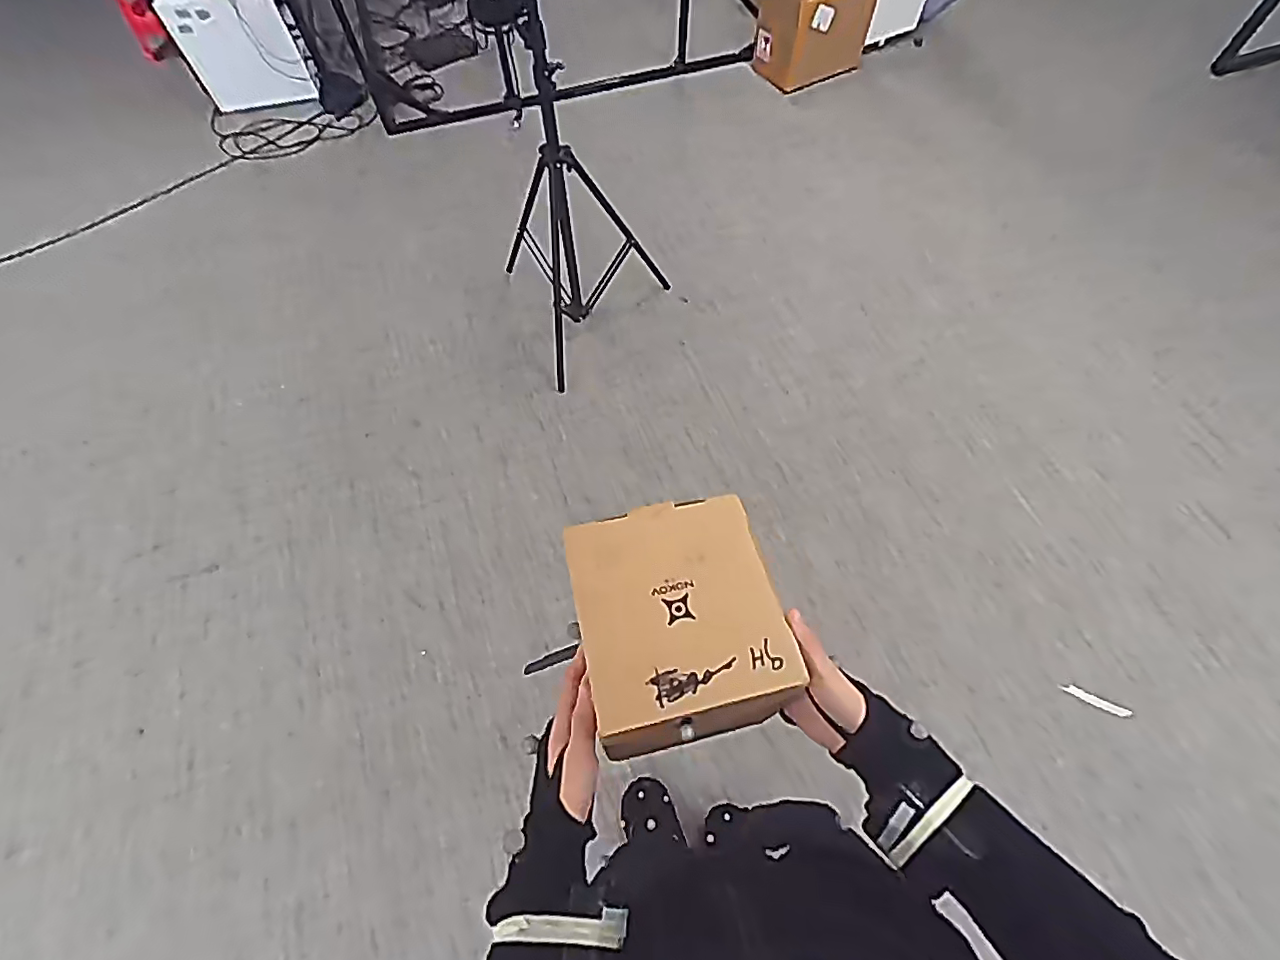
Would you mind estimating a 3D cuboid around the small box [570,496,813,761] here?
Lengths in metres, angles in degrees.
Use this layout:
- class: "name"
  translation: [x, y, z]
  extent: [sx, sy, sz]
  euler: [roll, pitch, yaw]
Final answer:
- class: "small box"
  translation: [0.033, 0.143, 0.509]
  extent: [0.168, 0.176, 0.179]
  euler: [-11, 57, -8]
